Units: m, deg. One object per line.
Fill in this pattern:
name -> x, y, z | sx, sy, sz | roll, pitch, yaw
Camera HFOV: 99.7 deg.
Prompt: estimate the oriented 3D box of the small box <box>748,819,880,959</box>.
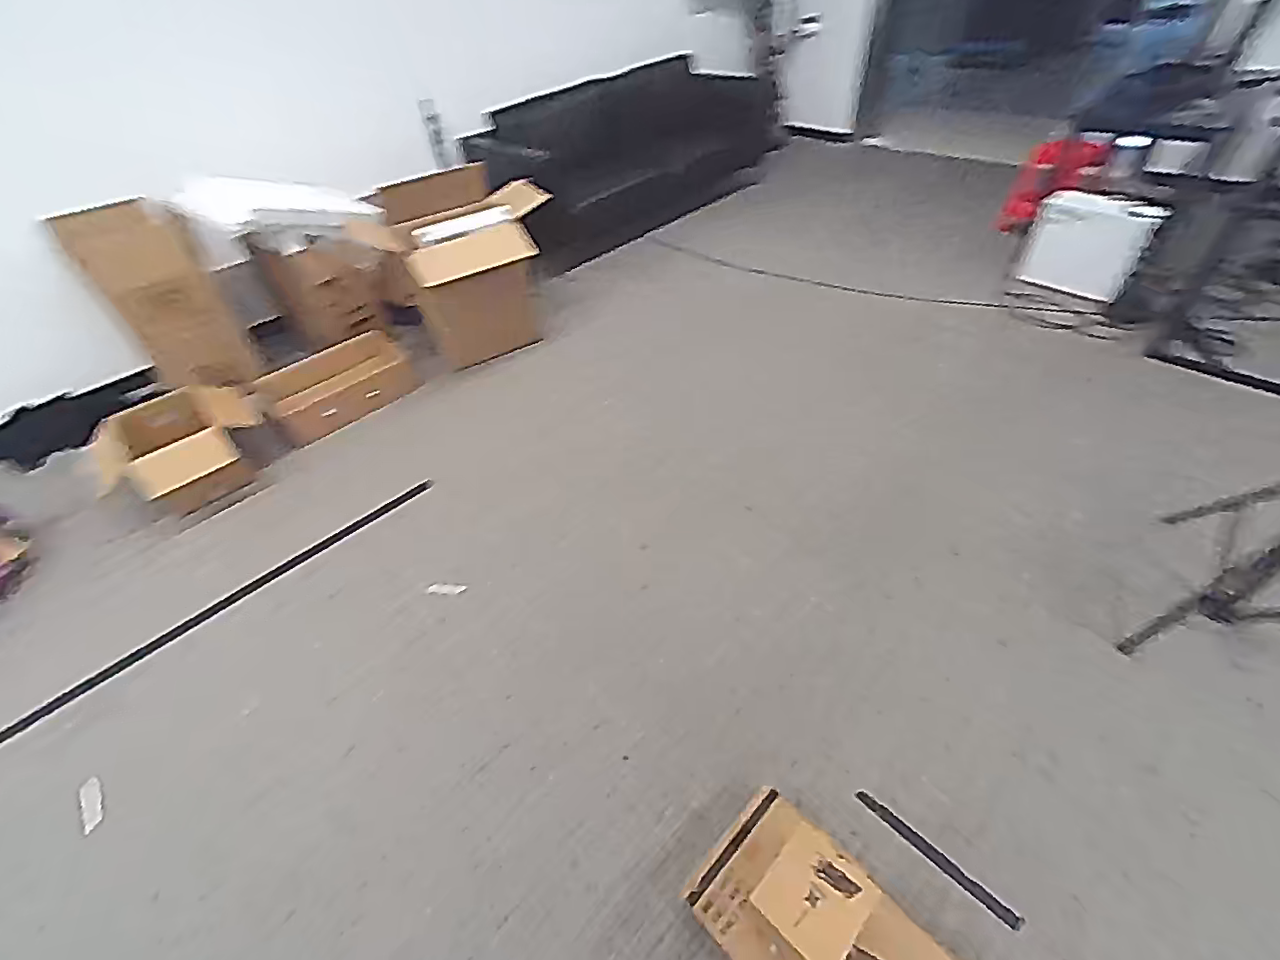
small box -> 0.320, 0.798, 1.030 | 0.179, 0.176, 0.168 | -37, 53, -27
